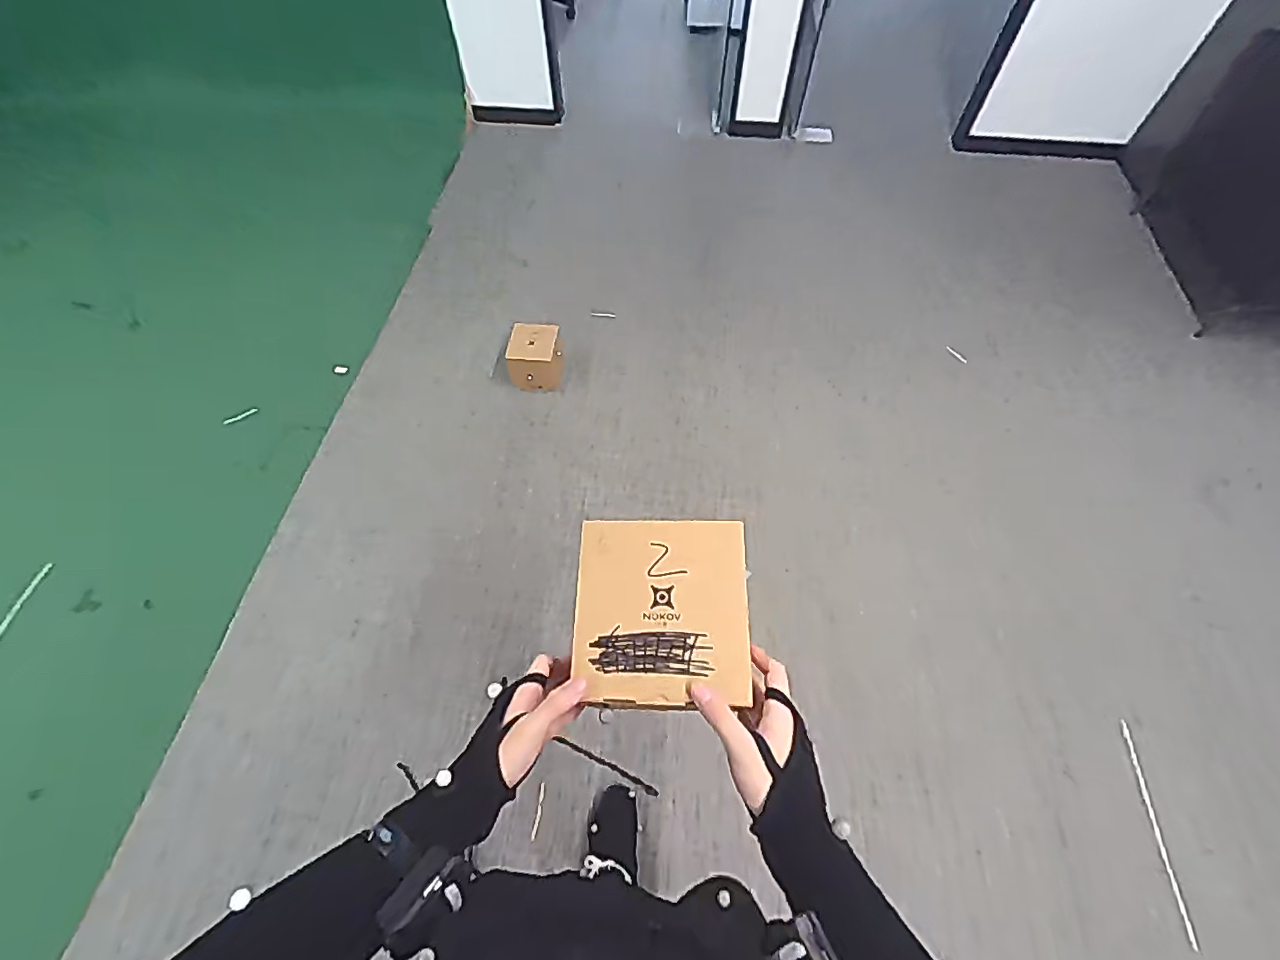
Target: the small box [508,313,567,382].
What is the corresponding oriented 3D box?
[{"bbox_3d":[-0.369,-0.481,1.980,0.168,0.176,0.179,7,60,3],"label":"small box"}]
